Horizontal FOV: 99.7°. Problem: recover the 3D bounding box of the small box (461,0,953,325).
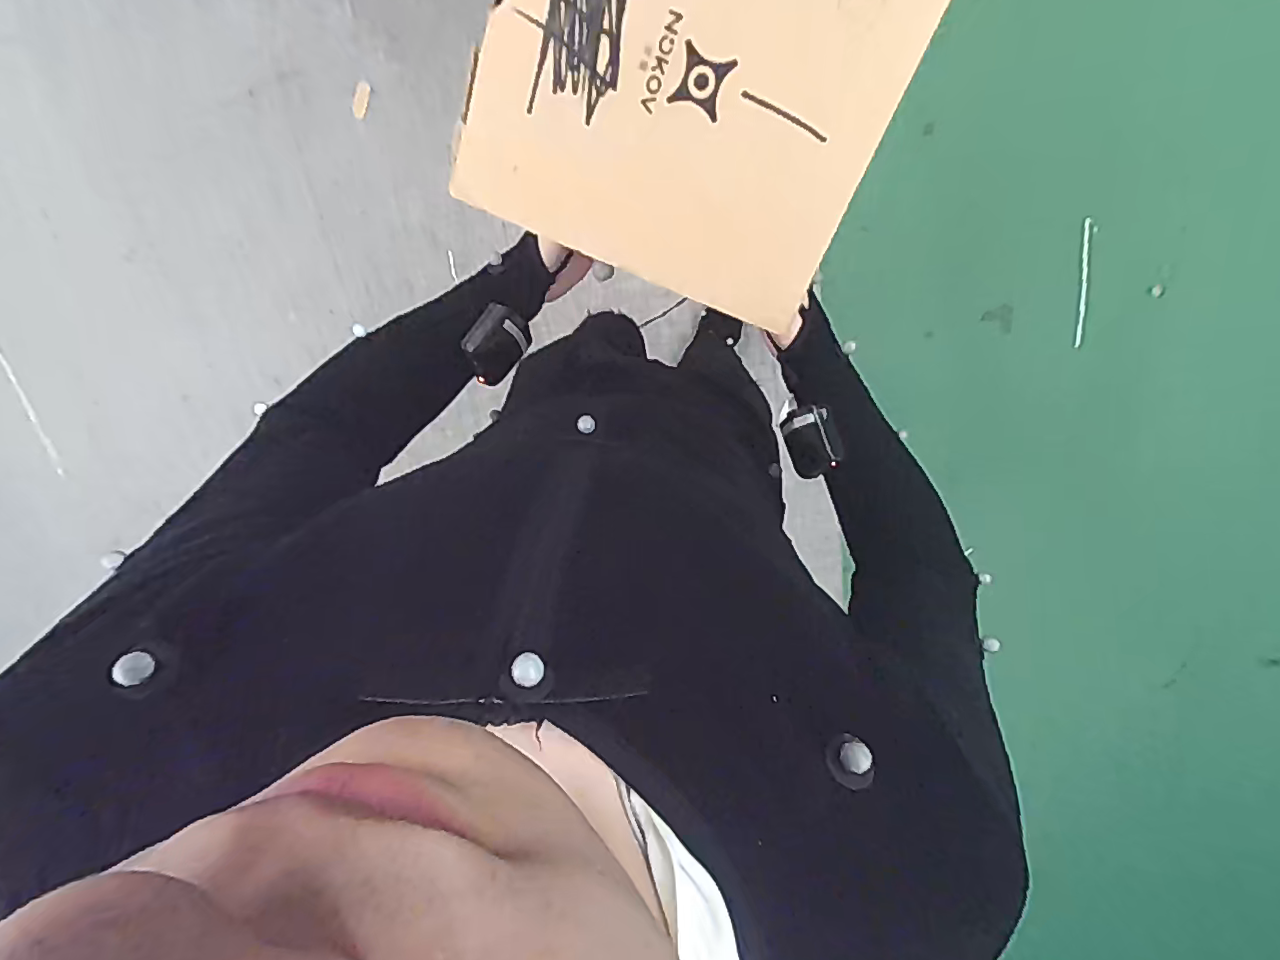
[{"bbox_3d":[0.032,-0.204,0.298,0.179,0.176,0.168,21,116,-2],"label":"small box"}]
